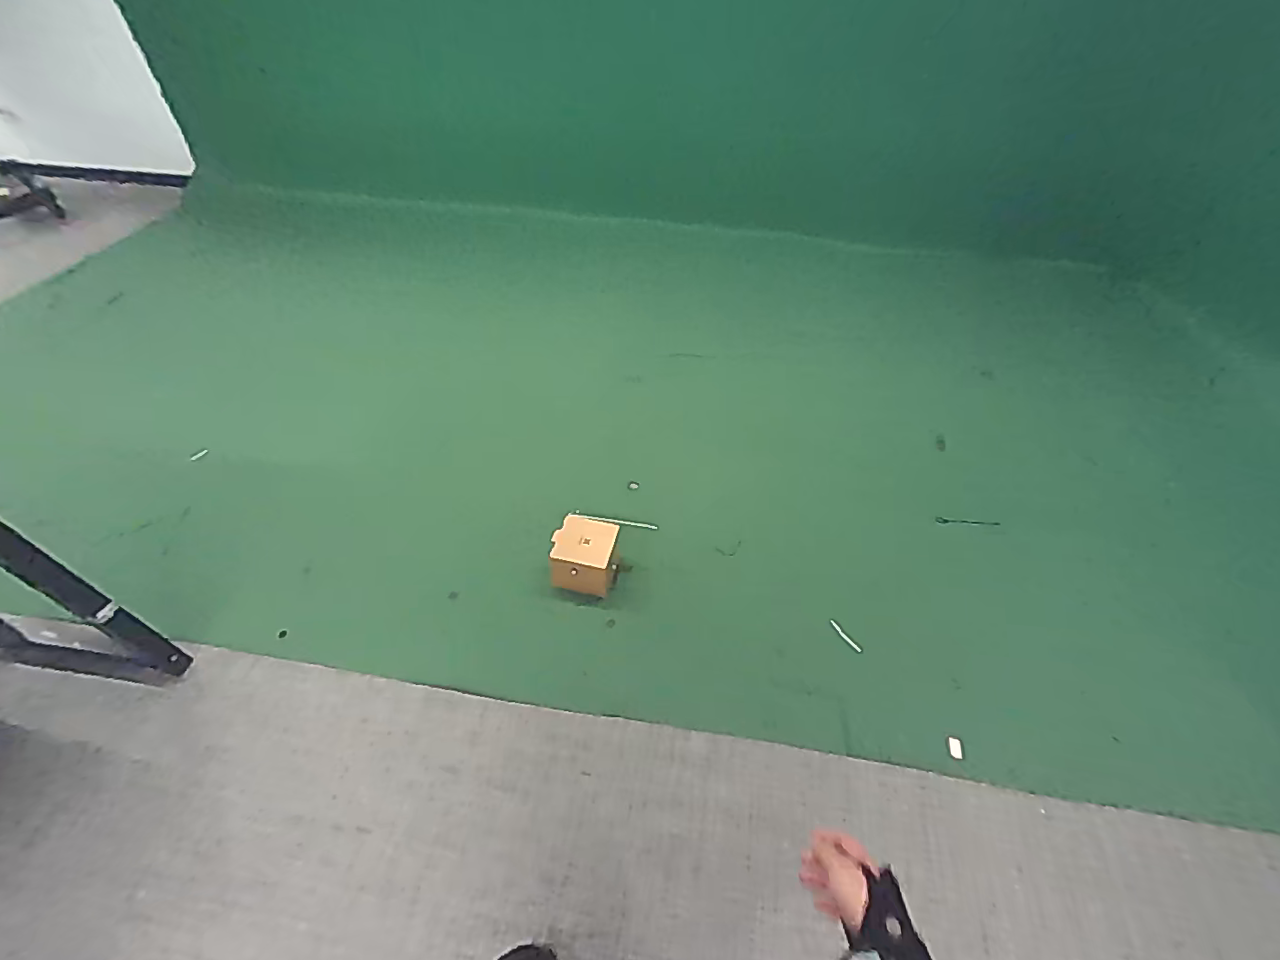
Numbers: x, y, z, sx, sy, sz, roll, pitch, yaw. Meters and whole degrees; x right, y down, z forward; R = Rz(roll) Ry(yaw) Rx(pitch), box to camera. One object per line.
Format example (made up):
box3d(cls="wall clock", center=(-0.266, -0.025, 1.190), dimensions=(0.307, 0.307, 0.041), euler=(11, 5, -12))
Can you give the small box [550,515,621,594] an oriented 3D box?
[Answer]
box3d(cls="small box", center=(-0.163, 0.235, 1.680), dimensions=(0.179, 0.176, 0.168), euler=(10, 49, 8))
